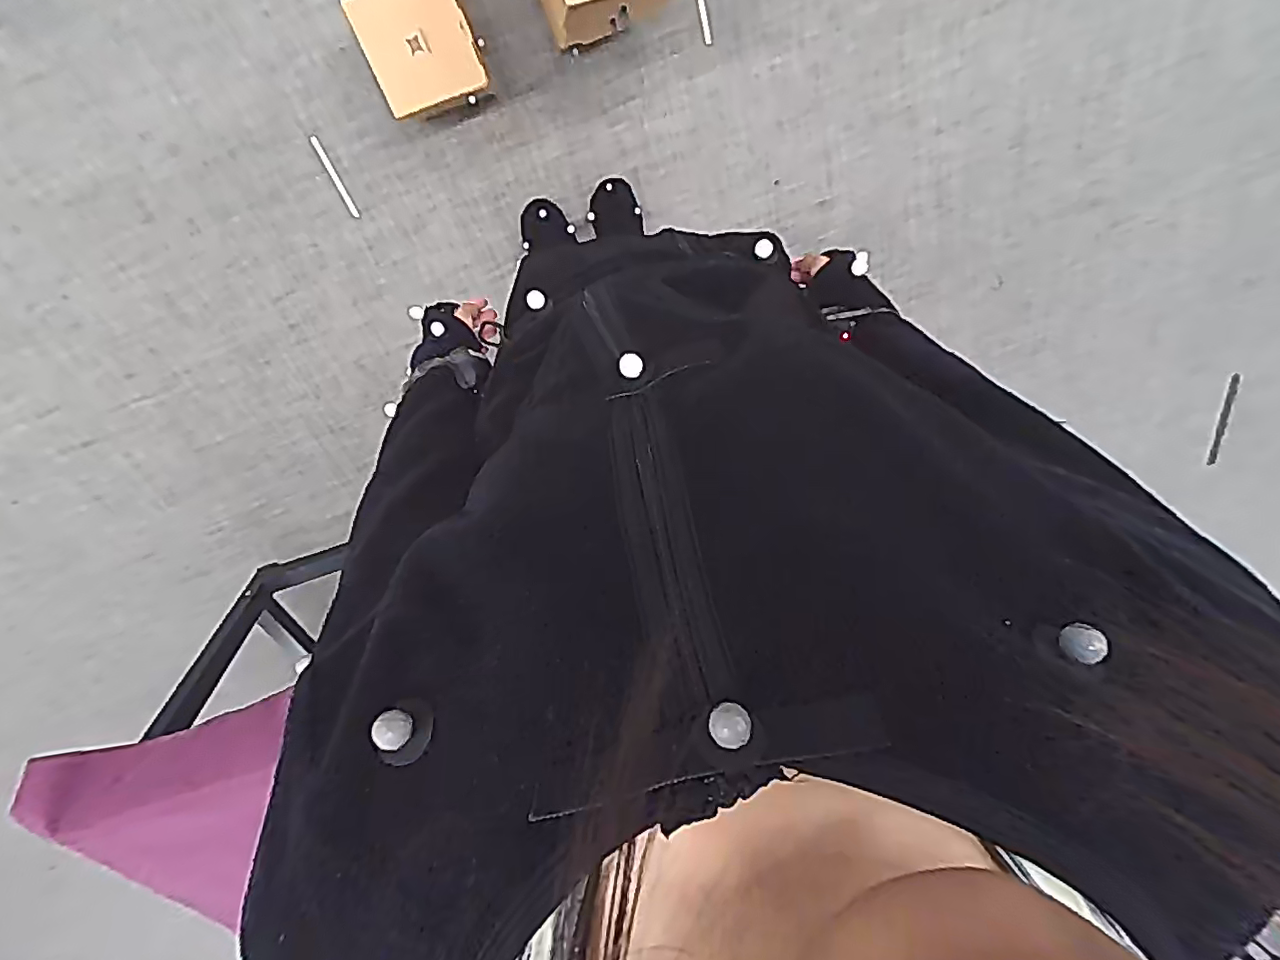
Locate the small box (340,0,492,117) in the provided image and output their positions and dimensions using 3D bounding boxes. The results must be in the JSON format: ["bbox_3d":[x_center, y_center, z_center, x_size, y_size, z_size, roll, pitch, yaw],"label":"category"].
[{"bbox_3d":[-0.376,-0.758,0.948,0.179,0.176,0.168,-20,123,2],"label":"small box"}]

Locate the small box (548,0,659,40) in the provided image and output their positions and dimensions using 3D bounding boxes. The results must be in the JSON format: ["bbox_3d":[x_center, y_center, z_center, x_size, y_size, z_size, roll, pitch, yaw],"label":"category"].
[{"bbox_3d":[-0.063,-0.781,0.794,0.179,0.176,0.168,-19,124,1],"label":"small box"}]

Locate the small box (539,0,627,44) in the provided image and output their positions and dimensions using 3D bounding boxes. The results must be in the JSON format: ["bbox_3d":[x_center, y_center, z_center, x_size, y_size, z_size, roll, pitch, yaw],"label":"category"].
[{"bbox_3d":[-0.099,-0.880,0.922,0.168,0.176,0.179,-21,123,2],"label":"small box"}]

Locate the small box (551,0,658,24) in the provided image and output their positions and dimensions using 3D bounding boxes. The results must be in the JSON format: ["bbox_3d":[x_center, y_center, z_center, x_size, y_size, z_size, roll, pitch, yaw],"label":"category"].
[{"bbox_3d":[-0.035,-0.691,0.660,0.179,0.176,0.168,-17,124,-1],"label":"small box"}]
